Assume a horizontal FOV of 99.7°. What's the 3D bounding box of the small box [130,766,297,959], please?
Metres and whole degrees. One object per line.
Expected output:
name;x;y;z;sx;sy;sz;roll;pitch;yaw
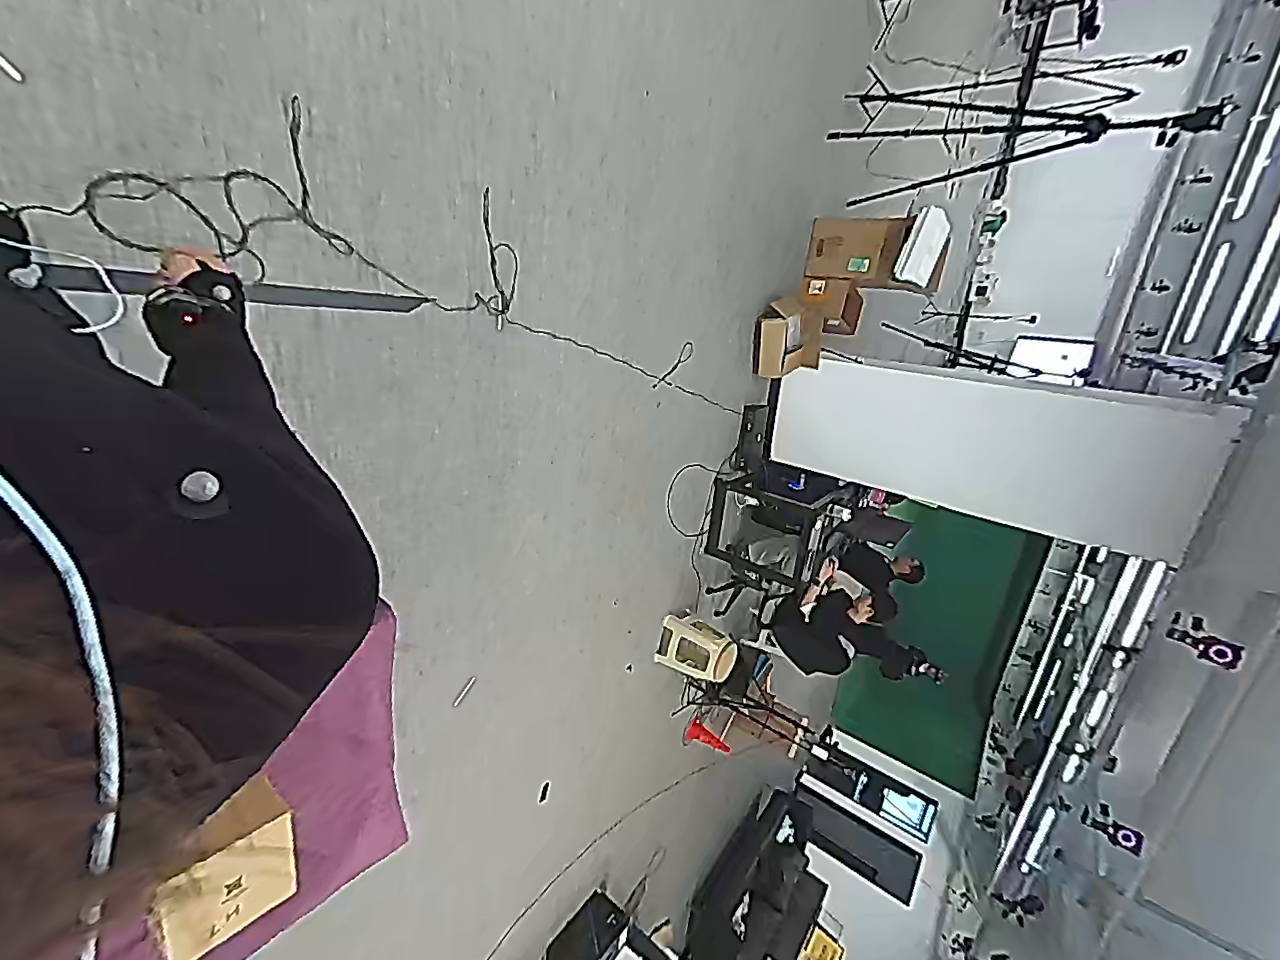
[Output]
small box;-0.675;0.594;0.860;0.168;0.176;0.179;-14;116;-52
